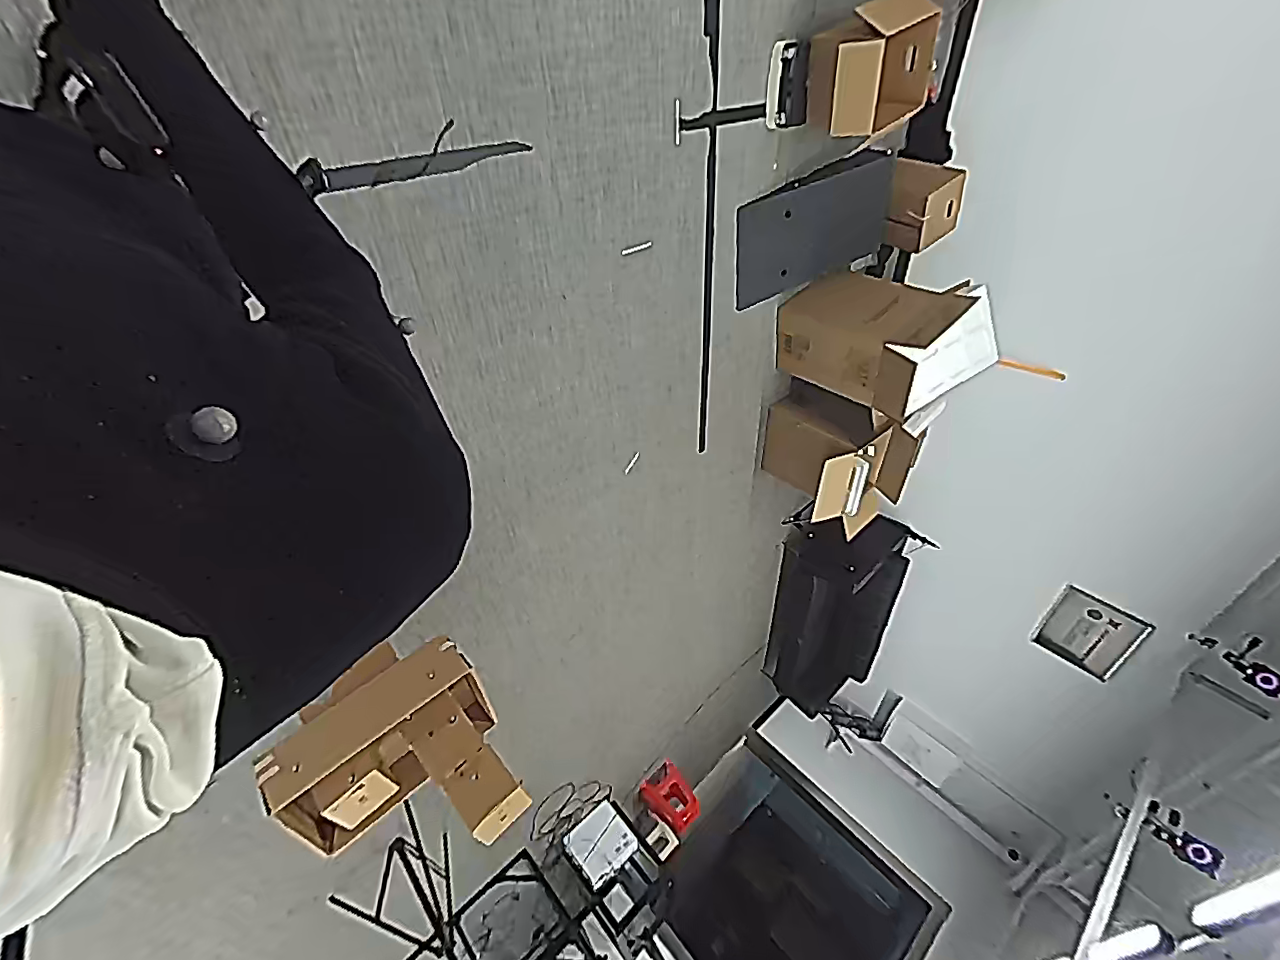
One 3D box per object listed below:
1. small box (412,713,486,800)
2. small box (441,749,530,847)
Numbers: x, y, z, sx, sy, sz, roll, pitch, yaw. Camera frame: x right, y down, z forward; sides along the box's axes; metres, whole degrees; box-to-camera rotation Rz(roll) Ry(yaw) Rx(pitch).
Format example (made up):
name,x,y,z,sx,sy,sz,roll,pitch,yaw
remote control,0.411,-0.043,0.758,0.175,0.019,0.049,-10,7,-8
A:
name,x,y,z,sx,sy,sz,roll,pitch,yaw
small box,-0.578,0.859,1.679,0.168,0.176,0.179,-35,142,-27
small box,-0.455,0.934,1.597,0.168,0.176,0.179,-37,142,-26
